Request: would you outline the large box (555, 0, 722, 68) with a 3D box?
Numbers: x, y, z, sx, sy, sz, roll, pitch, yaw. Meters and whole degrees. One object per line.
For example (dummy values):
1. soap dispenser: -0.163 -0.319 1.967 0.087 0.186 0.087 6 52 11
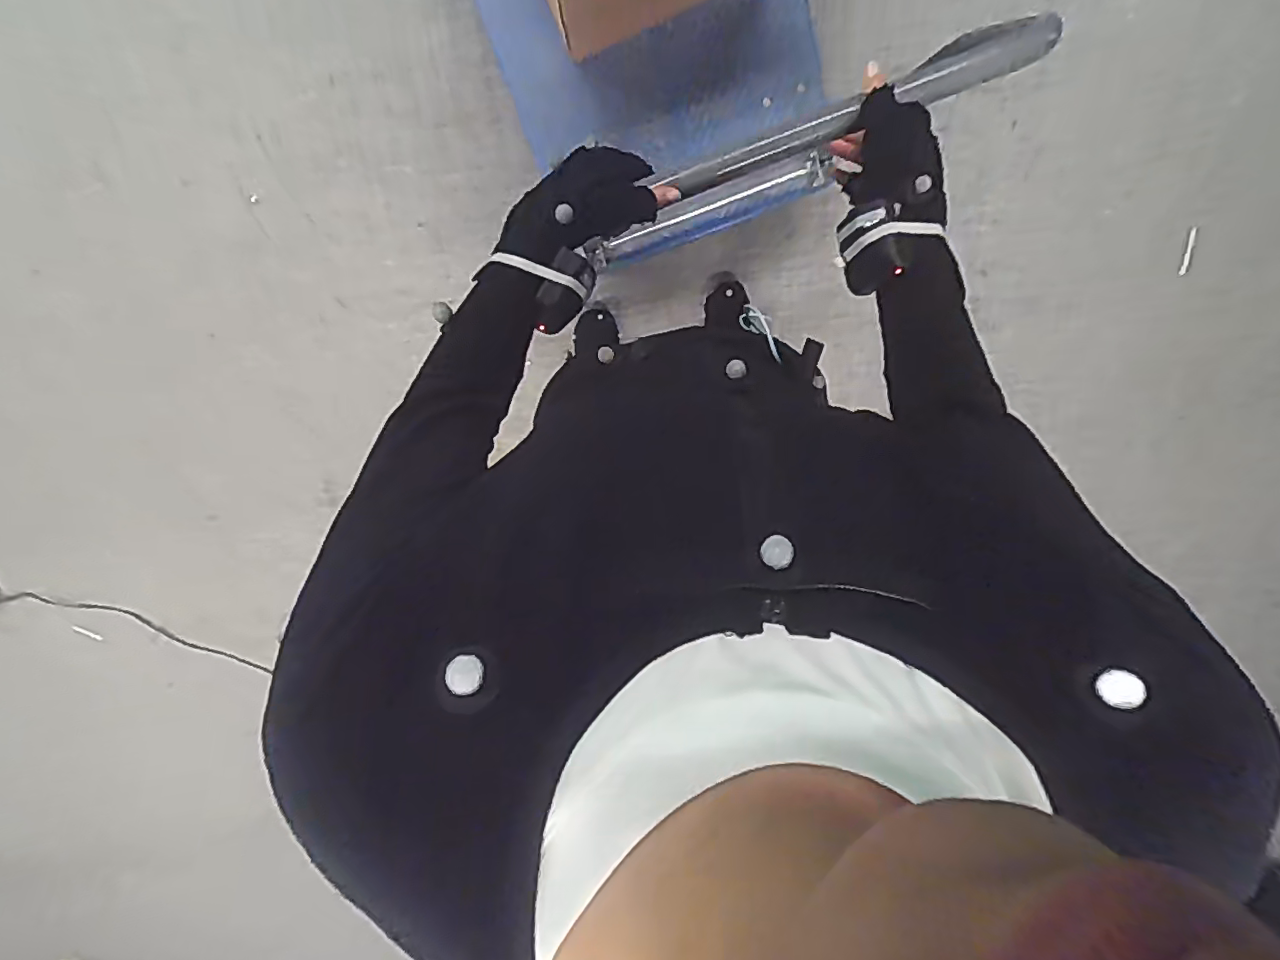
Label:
1. large box: 0.019 -0.931 0.824 0.408 0.320 0.320 -21 110 7
